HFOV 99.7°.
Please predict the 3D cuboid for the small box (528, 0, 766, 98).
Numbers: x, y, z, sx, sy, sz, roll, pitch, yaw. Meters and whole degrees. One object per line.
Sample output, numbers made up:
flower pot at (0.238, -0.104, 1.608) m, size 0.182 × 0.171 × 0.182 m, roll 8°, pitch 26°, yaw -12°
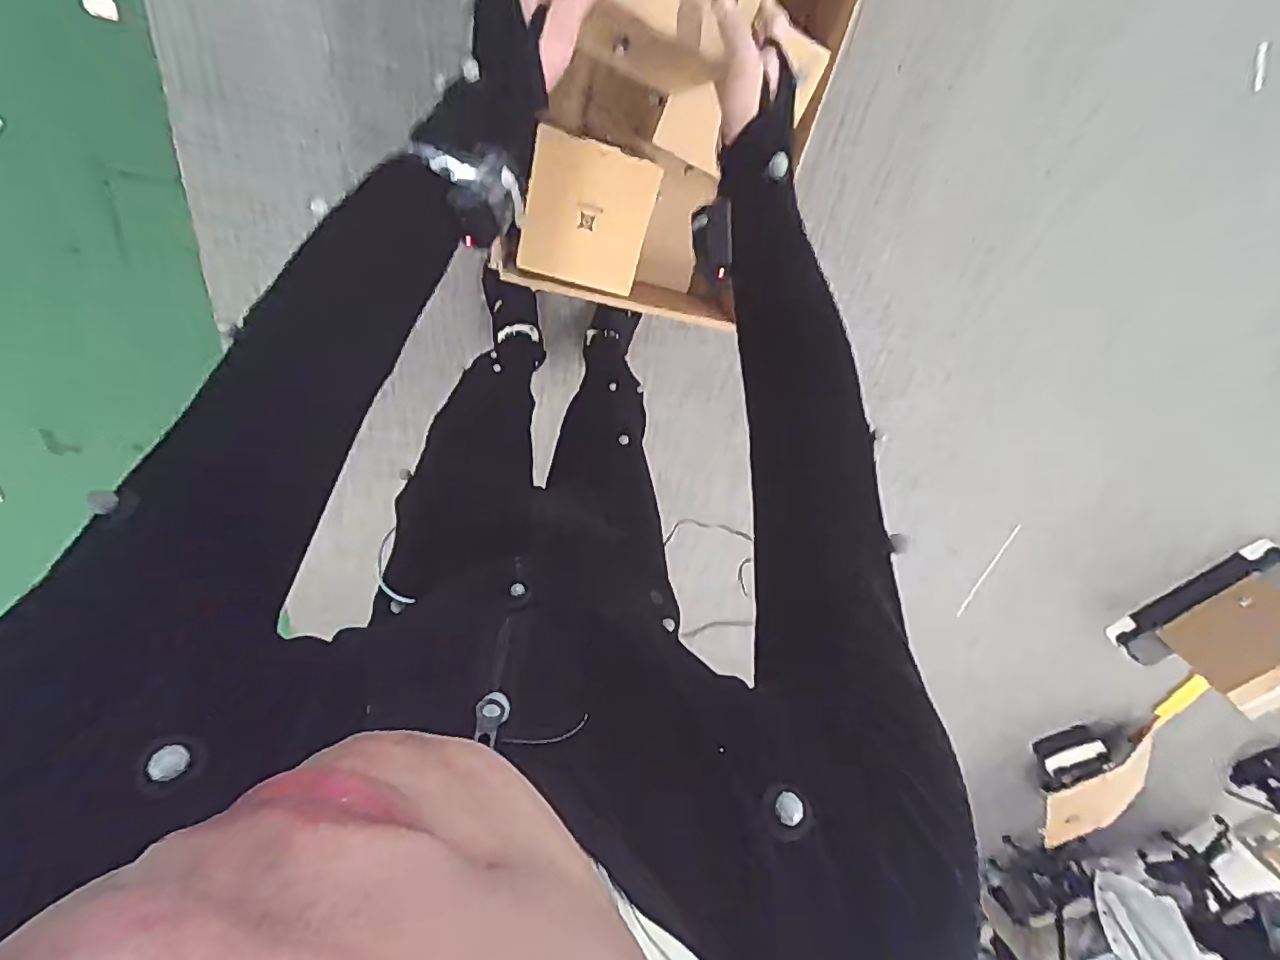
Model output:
small box at (0.012, -0.480, 0.494) m, size 0.179 × 0.176 × 0.168 m, roll 11°, pitch 113°, yaw -26°
